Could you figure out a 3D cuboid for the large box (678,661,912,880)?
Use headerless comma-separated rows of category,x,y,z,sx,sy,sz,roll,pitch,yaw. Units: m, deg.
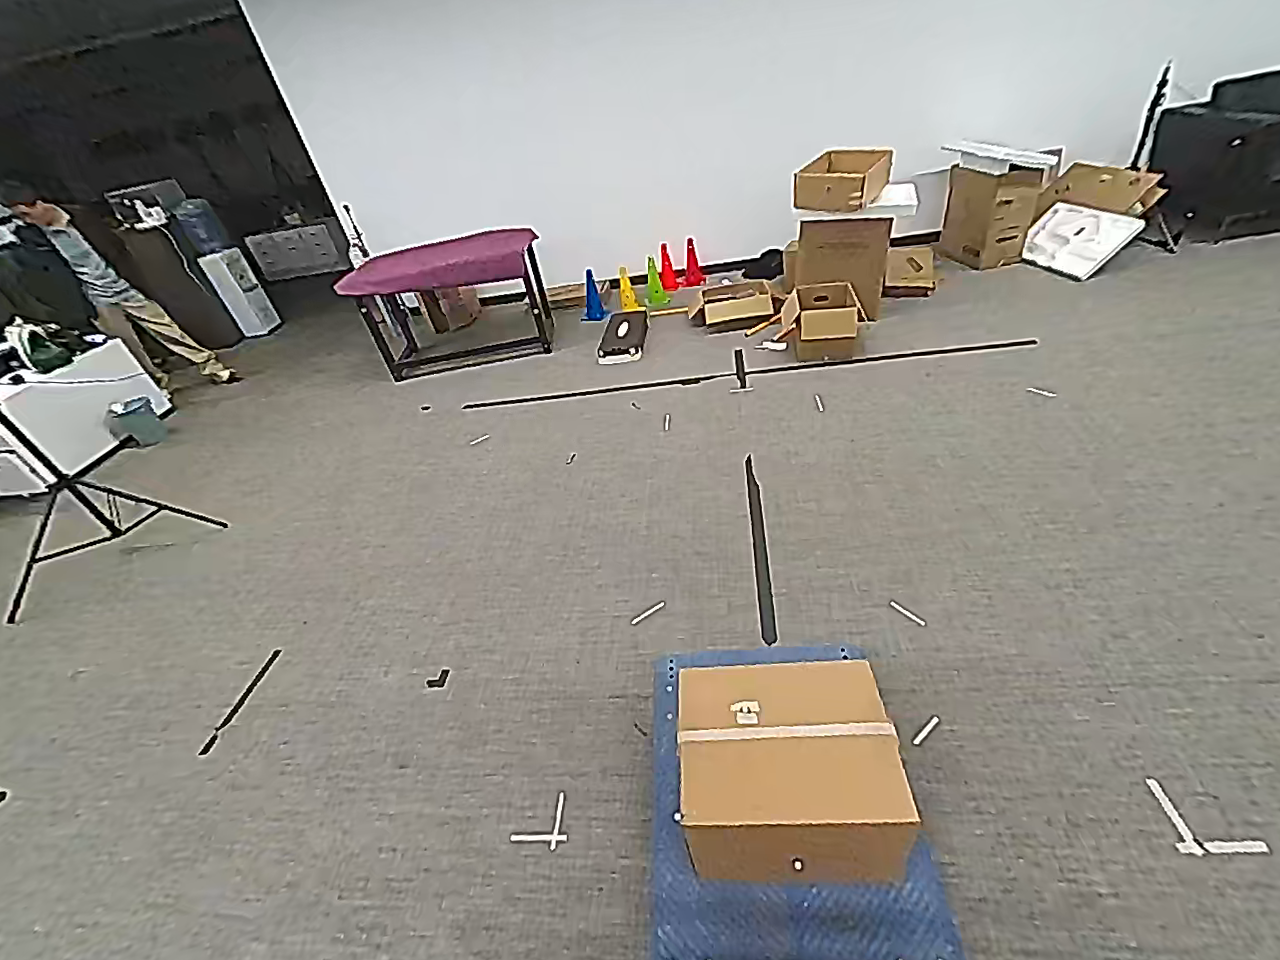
large box,0.302,0.619,1.150,0.408,0.320,0.320,-7,36,8
